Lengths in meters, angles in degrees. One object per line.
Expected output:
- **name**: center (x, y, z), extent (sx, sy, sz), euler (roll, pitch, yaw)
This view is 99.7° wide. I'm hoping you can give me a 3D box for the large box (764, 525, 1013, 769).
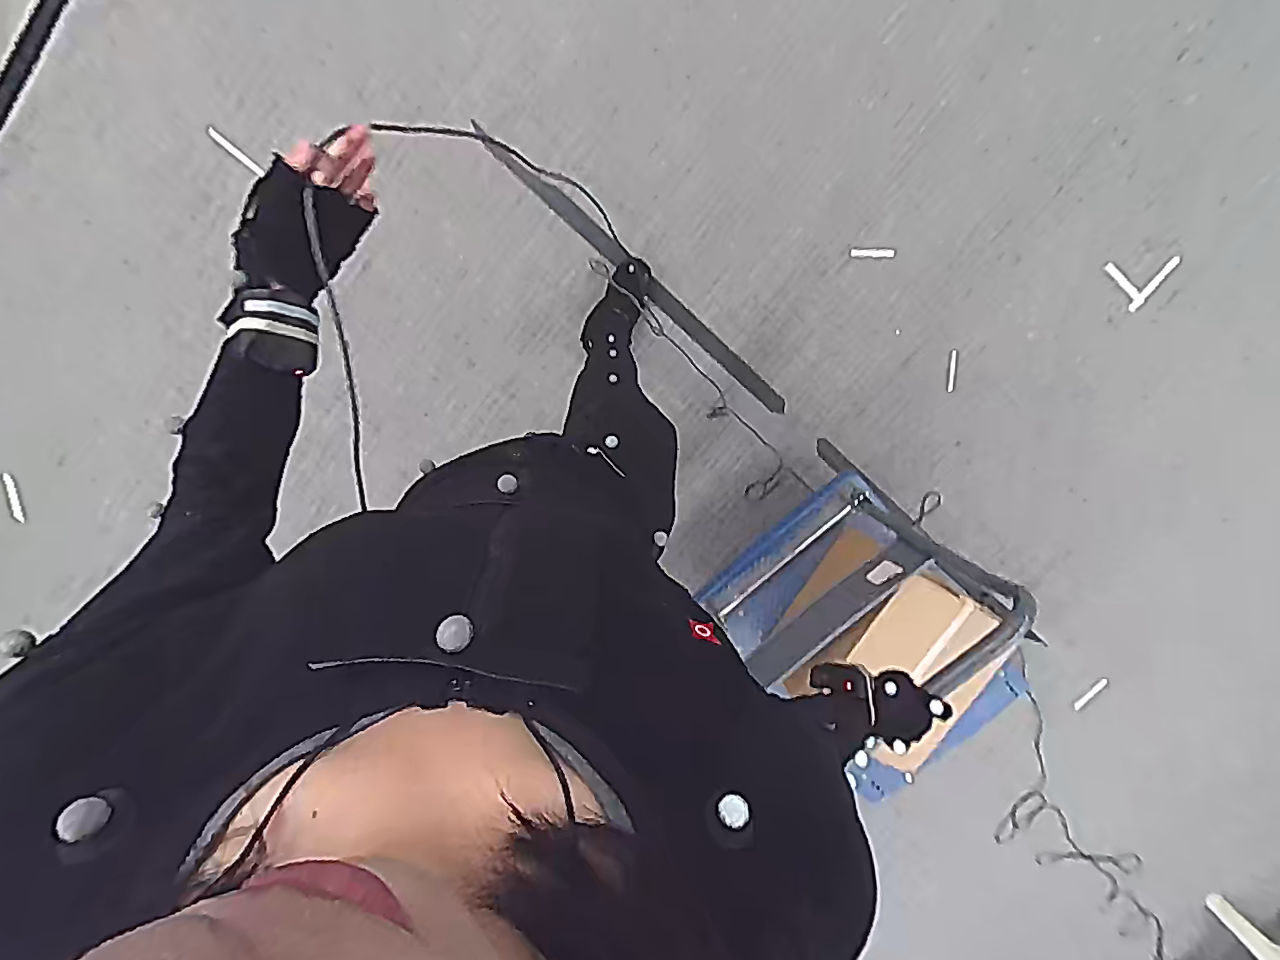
- **large box**: center (0.566, 0.383, 1.310), extent (0.320, 0.320, 0.408), euler (29, 101, -9)
